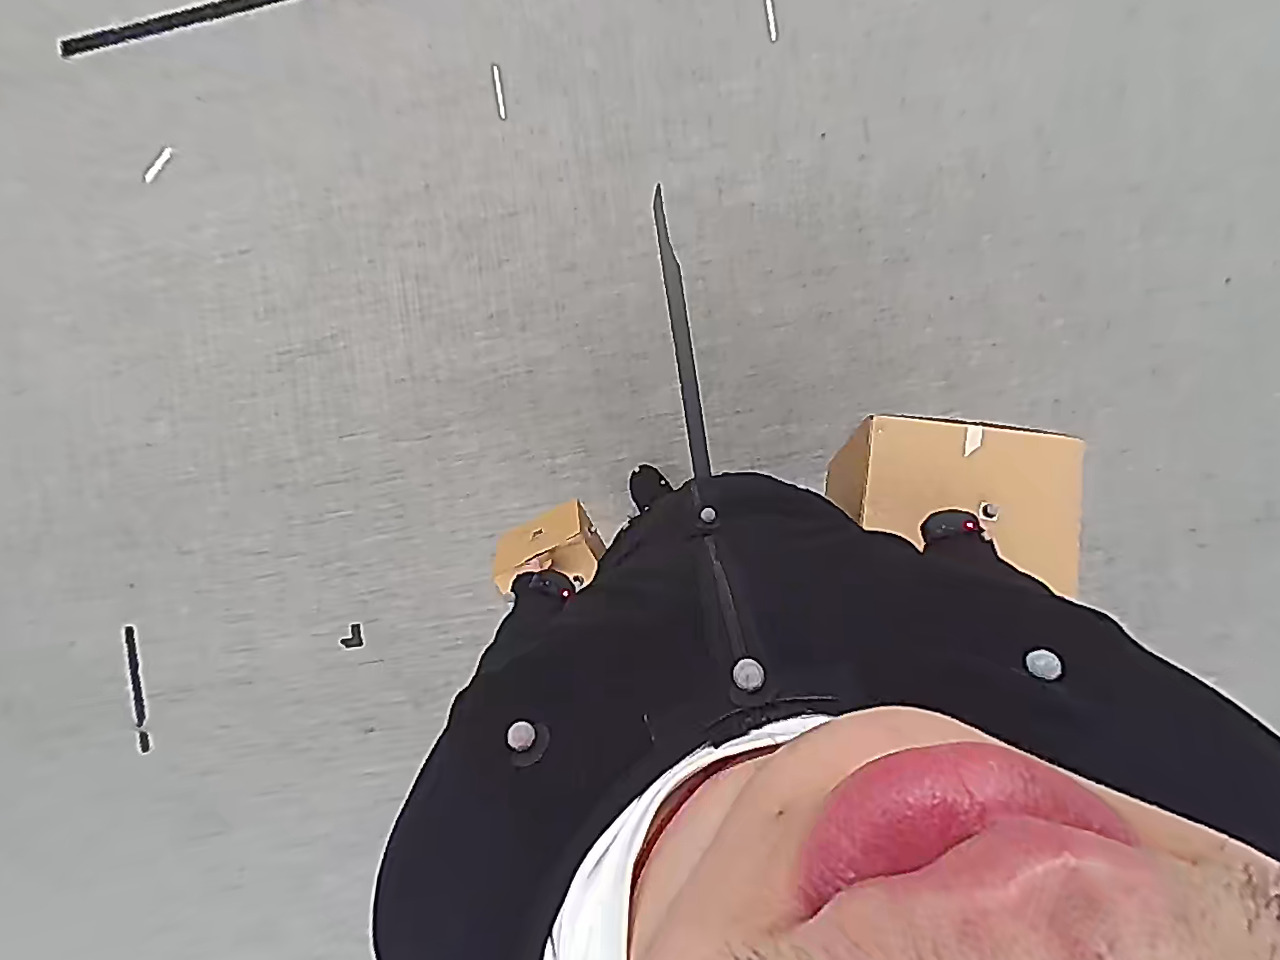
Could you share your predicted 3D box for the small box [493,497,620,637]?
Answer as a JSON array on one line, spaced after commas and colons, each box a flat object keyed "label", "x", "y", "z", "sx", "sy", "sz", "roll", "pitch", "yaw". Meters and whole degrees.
[{"label": "small box", "x": -0.148, "y": 0.164, "z": 0.995, "sx": 0.168, "sy": 0.179, "sz": 0.176, "roll": -27, "pitch": 111, "yaw": 1}]
